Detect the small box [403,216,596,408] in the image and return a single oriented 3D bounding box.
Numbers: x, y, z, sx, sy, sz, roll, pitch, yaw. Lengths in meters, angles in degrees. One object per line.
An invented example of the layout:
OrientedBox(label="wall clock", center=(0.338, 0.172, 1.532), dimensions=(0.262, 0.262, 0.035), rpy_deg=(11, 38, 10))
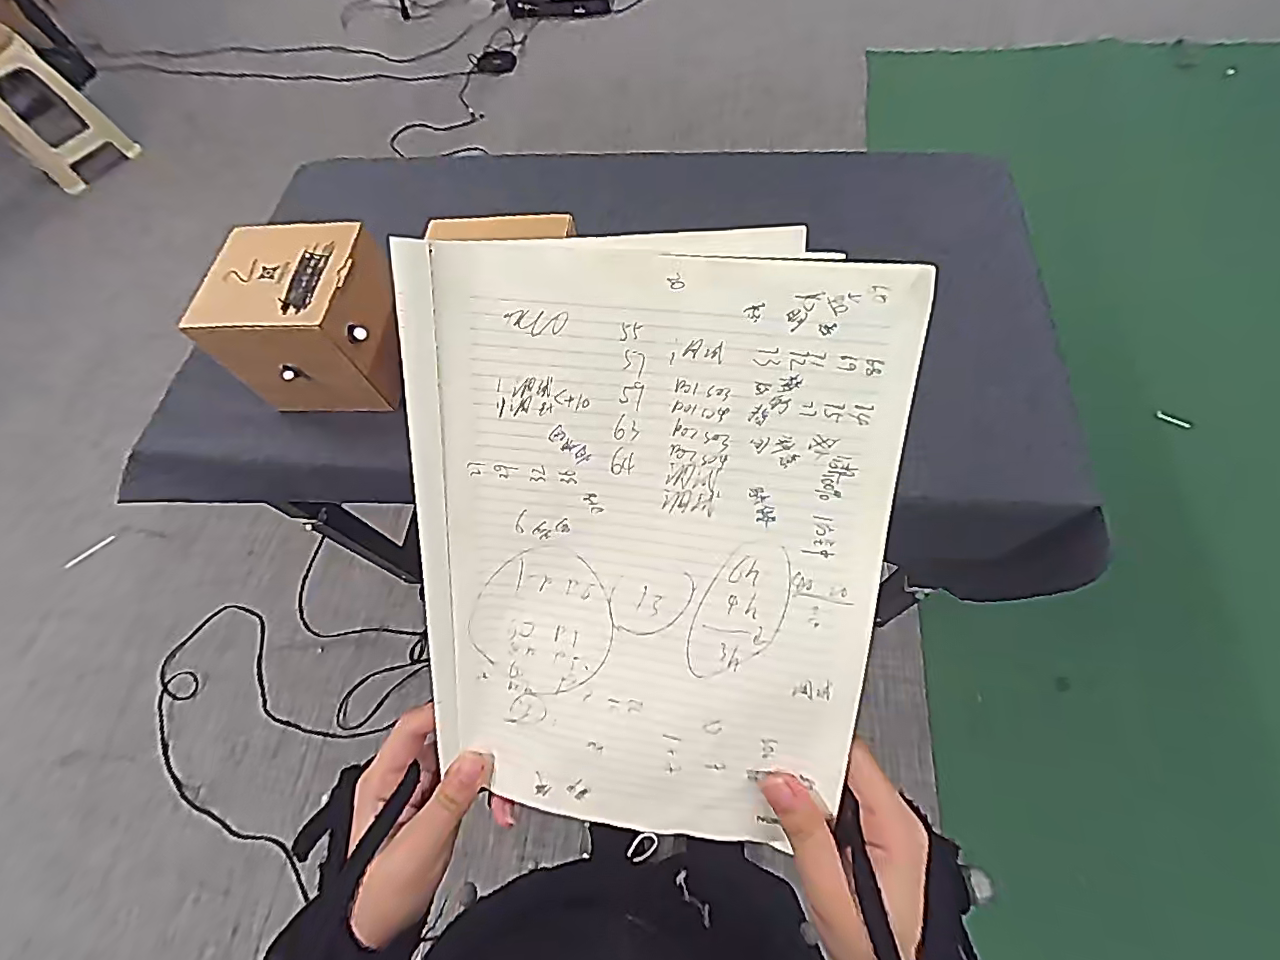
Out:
OrientedBox(label="small box", center=(-0.160, -0.202, 0.682), dimensions=(0.179, 0.176, 0.168), rpy_deg=(0, 63, 5))
